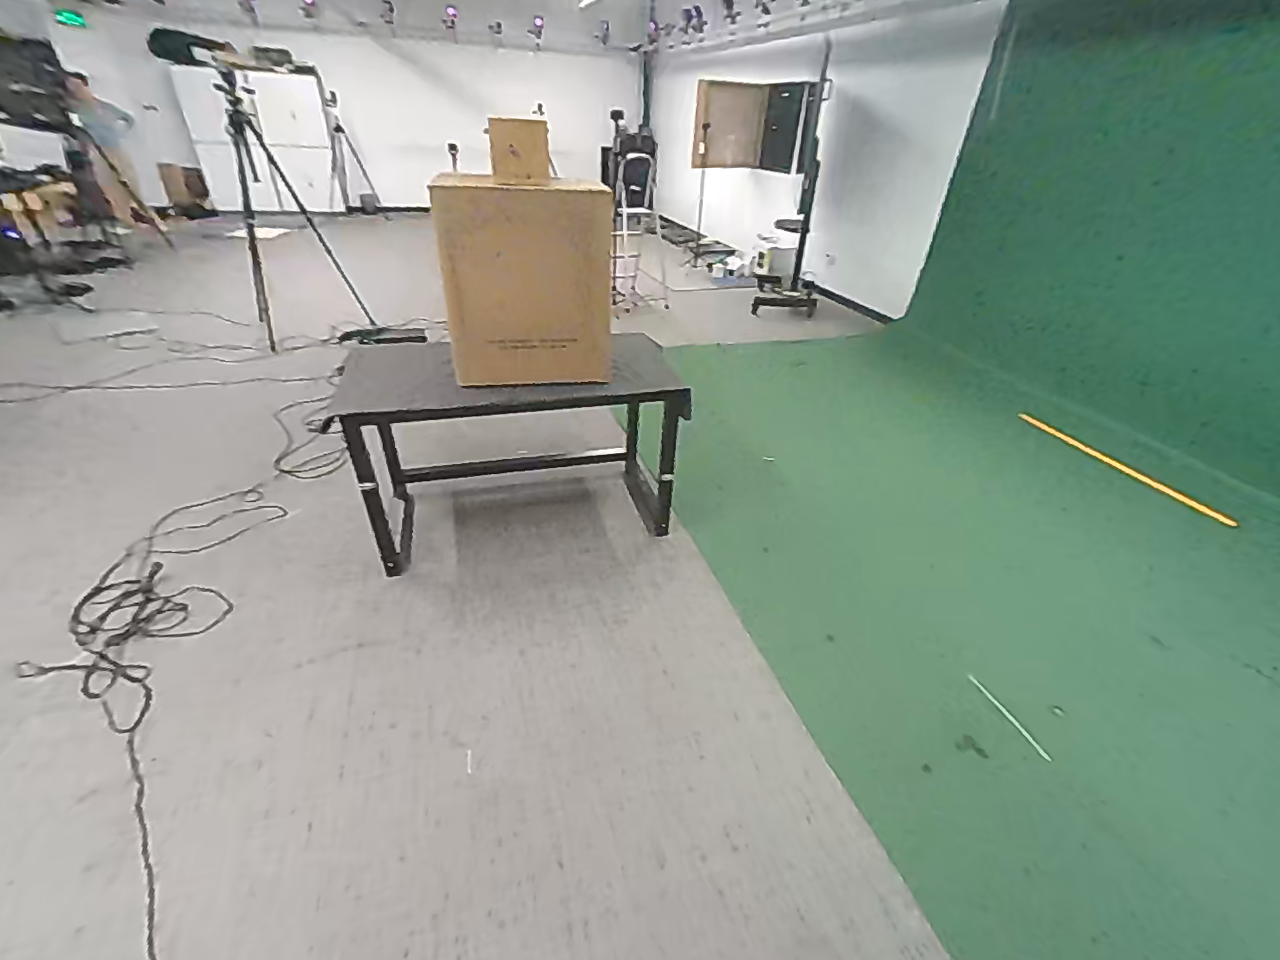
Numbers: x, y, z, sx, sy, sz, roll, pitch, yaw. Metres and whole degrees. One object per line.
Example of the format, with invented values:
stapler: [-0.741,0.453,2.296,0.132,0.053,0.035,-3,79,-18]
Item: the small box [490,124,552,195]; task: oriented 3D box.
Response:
small box: [-0.355,-0.961,1.620,0.168,0.176,0.179,-4,36,-12]
